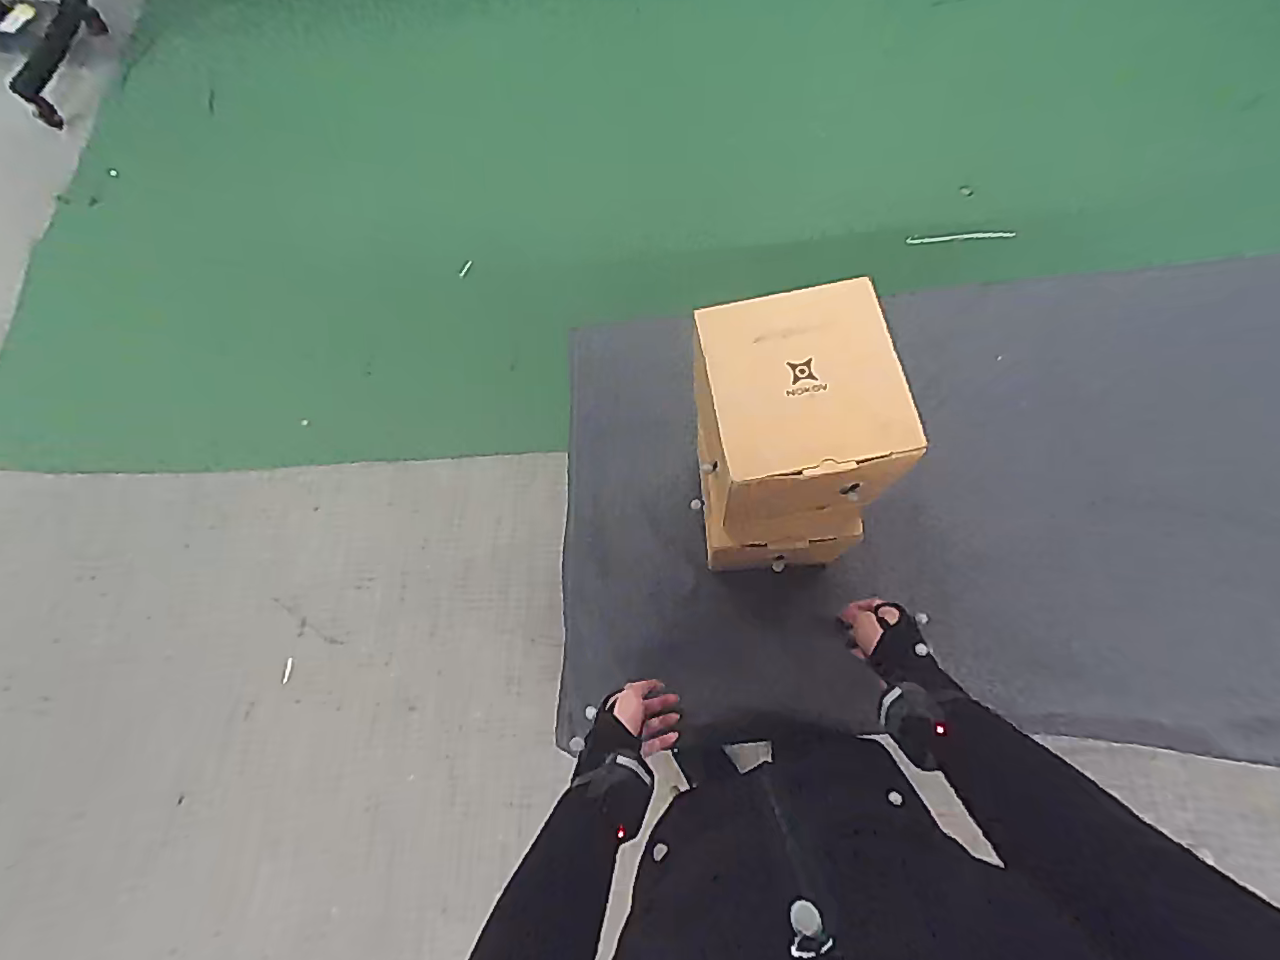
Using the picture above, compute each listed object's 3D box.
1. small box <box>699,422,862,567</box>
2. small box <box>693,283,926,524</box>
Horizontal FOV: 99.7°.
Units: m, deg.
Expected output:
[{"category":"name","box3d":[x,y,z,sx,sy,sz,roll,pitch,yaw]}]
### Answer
[{"category":"small box","box3d":[0.165,0.015,0.692,0.168,0.176,0.179,-5,72,4]},{"category":"small box","box3d":[0.151,-0.062,0.547,0.168,0.176,0.179,-10,70,2]}]
